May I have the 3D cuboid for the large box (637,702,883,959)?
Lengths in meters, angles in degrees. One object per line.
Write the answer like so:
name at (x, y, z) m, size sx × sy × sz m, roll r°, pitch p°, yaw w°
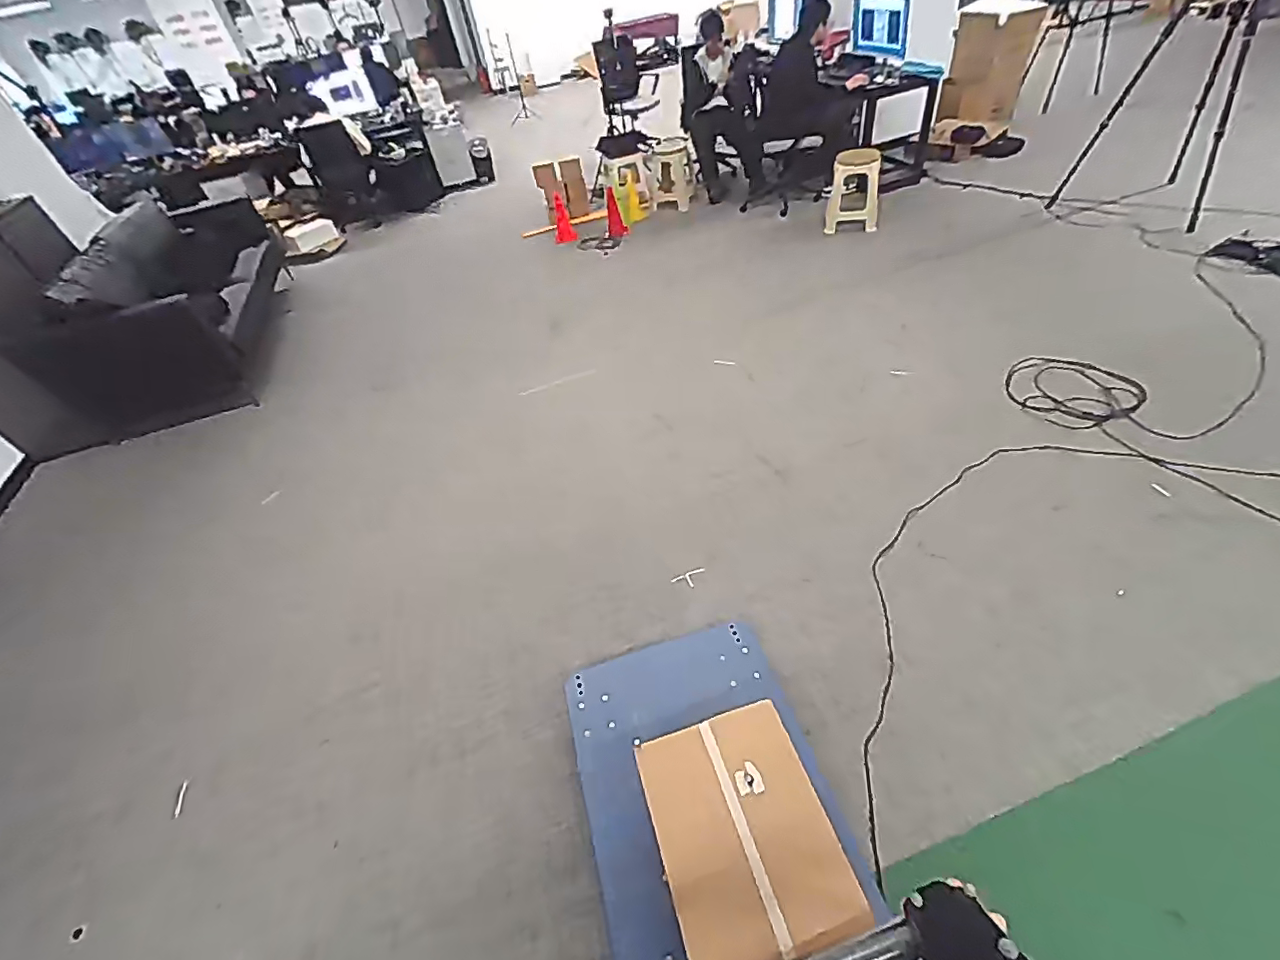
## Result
large box at (0.216, 0.747, 1.091) m, size 0.320 × 0.320 × 0.408 m, roll -17°, pitch 43°, yaw -7°
